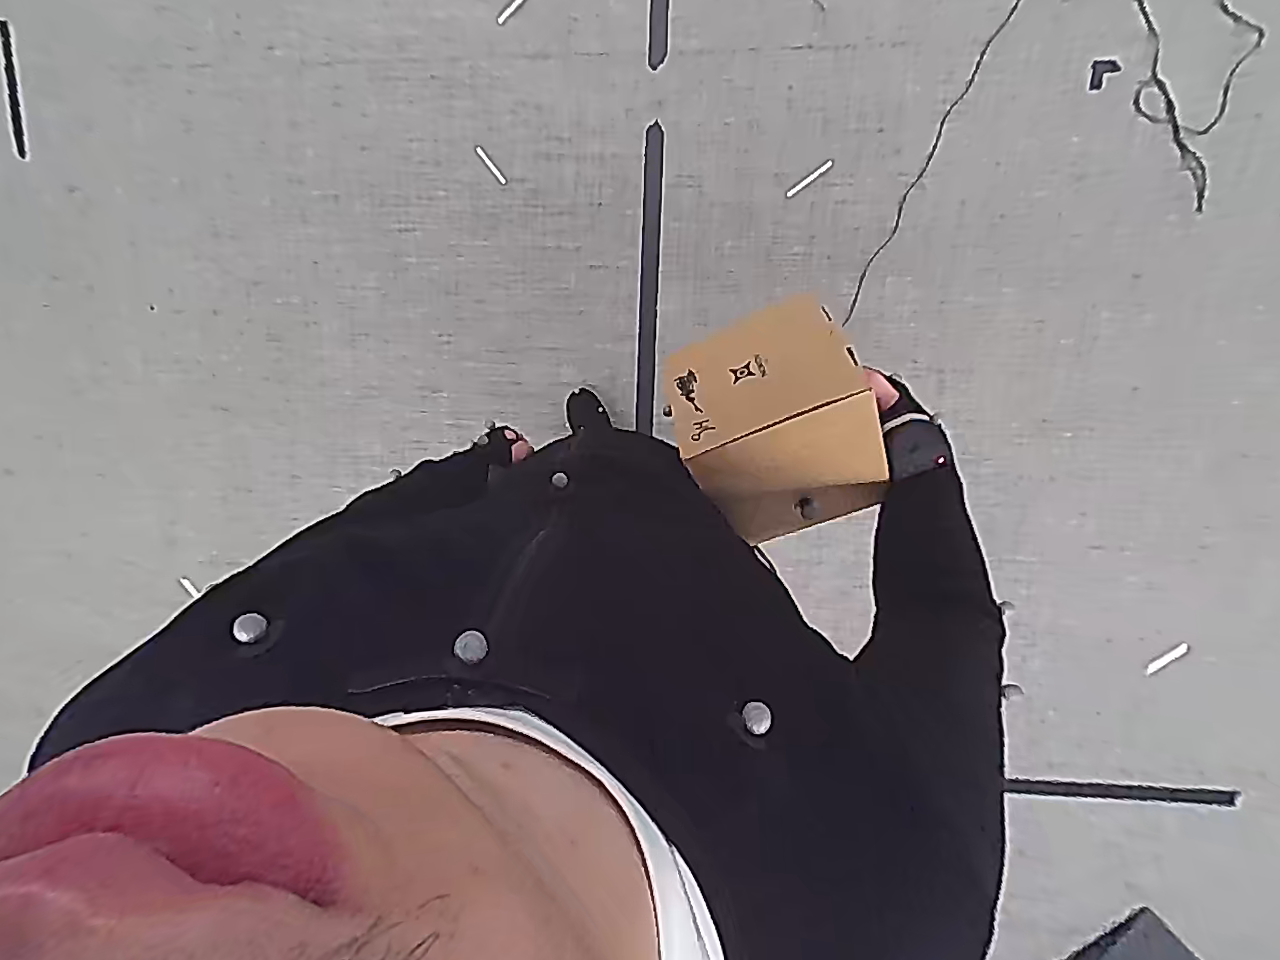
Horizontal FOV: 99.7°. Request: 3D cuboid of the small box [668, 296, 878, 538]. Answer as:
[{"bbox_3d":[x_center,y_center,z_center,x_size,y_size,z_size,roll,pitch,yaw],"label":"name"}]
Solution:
[{"bbox_3d":[0.149,-0.063,0.601,0.179,0.168,0.176,-21,135,15],"label":"small box"}]
